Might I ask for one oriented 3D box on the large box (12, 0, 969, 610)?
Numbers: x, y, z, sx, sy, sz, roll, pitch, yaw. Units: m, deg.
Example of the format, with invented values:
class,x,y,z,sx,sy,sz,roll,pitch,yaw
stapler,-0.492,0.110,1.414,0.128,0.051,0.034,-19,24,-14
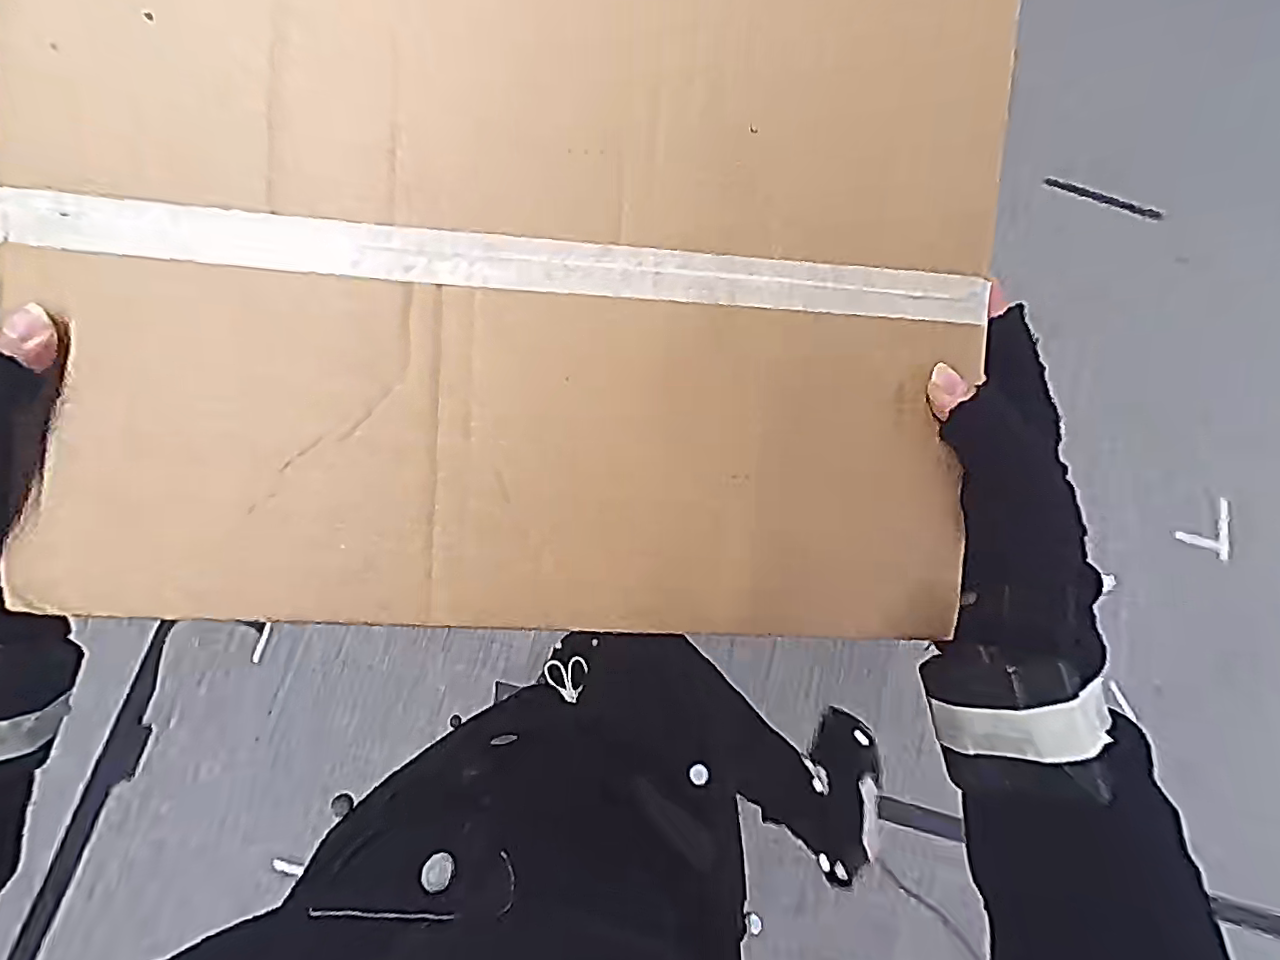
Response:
class,x,y,z,sx,sy,sz,roll,pitch,yaw
large box,-0.065,-0.108,0.388,0.408,0.320,0.320,3,94,-6
